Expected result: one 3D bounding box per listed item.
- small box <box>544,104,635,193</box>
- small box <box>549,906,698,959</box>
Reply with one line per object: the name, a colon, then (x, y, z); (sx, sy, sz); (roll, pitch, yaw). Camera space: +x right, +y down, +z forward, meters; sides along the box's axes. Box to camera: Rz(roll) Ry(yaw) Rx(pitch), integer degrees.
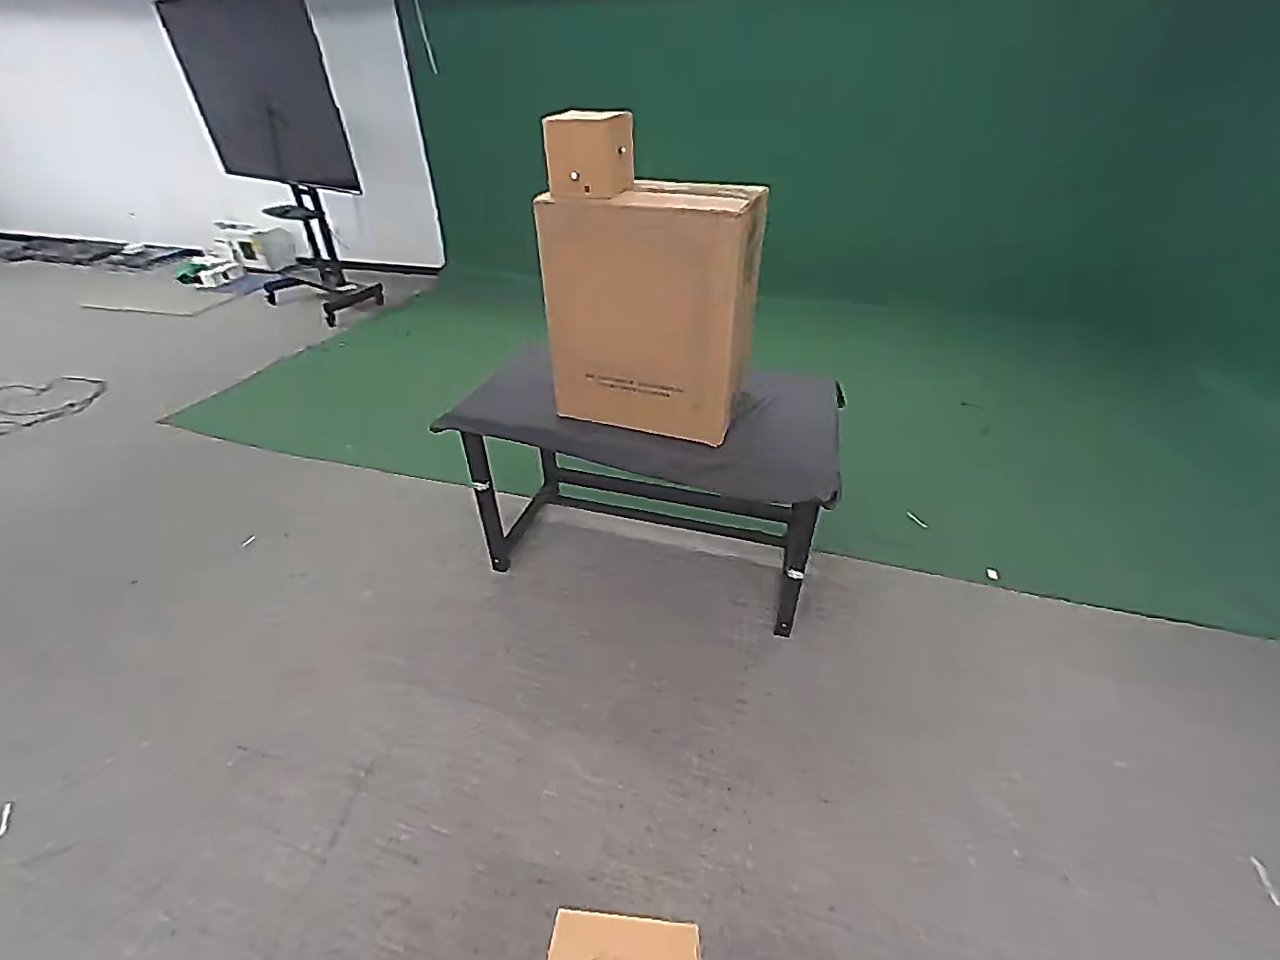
small box: (-0.119, -0.825, 1.341); (0.168, 0.176, 0.179); (13, 41, 18)
small box: (-0.018, 0.617, 0.600); (0.168, 0.176, 0.179); (1, 34, 7)
